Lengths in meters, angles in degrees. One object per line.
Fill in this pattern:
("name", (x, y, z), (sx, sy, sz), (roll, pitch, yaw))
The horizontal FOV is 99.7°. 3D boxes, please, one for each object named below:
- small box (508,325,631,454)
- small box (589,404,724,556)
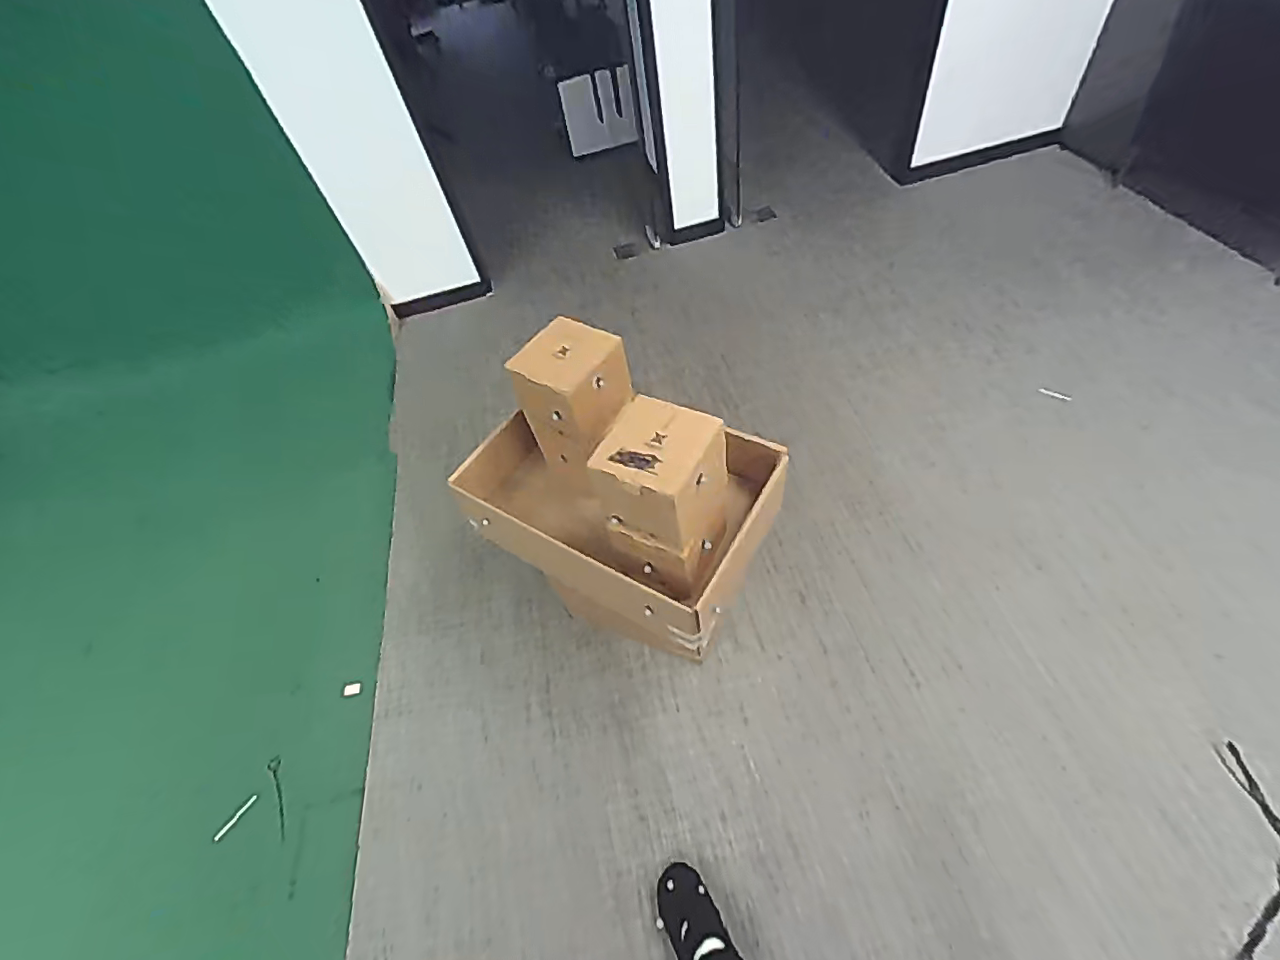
("small box", (-0.133, -0.184, 1.115), (0.168, 0.176, 0.179), (27, 61, 26))
("small box", (0.040, 0.003, 0.937), (0.168, 0.176, 0.179), (21, 58, 24))
